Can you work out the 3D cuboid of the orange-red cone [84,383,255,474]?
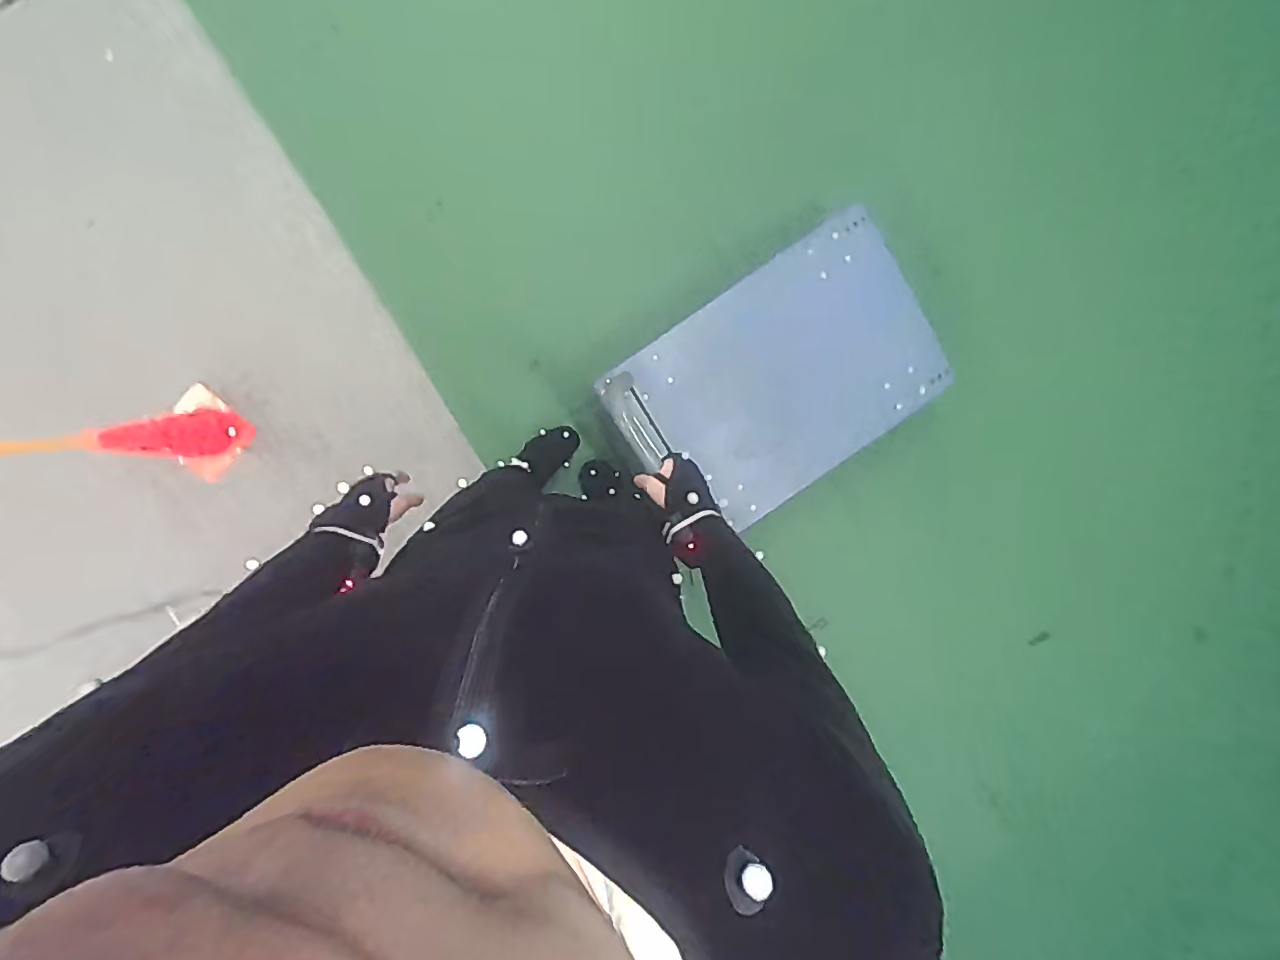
[{"bbox_3d":[-1.184,-0.121,1.327,0.198,0.360,0.199,-45,98,1],"label":"orange-red cone"}]
